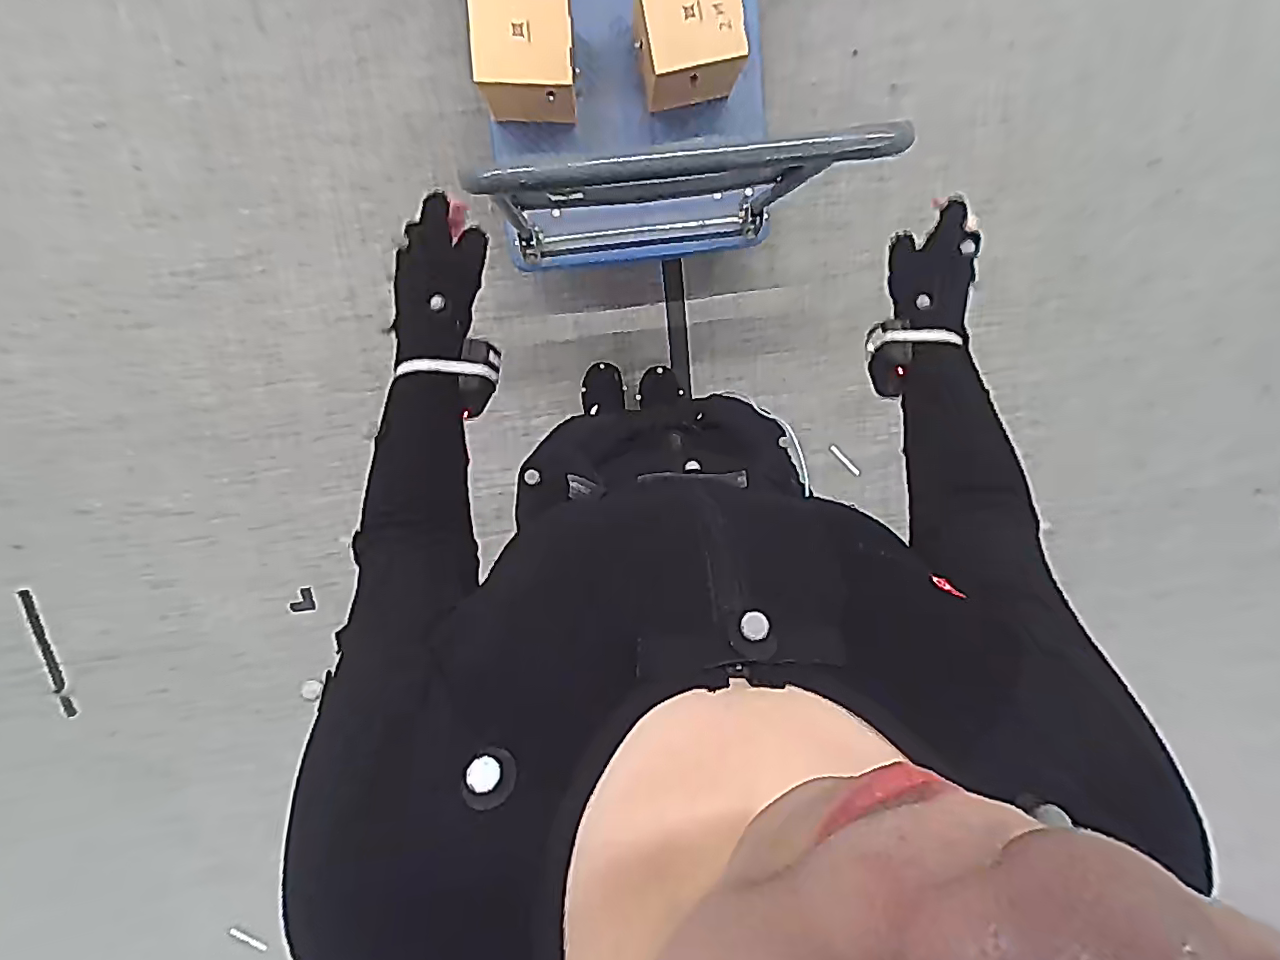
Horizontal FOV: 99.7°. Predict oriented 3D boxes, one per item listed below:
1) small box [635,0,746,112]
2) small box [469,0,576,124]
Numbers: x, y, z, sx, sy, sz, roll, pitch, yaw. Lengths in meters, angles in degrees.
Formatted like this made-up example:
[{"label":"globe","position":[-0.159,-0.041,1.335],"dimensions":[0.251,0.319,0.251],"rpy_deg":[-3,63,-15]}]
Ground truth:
[{"label":"small box","position":[0.088,-0.839,1.033],"dimensions":[0.179,0.176,0.168],"rpy_deg":[-13,105,0]},{"label":"small box","position":[-0.214,-0.799,1.023],"dimensions":[0.179,0.176,0.168],"rpy_deg":[-2,104,-5]}]
